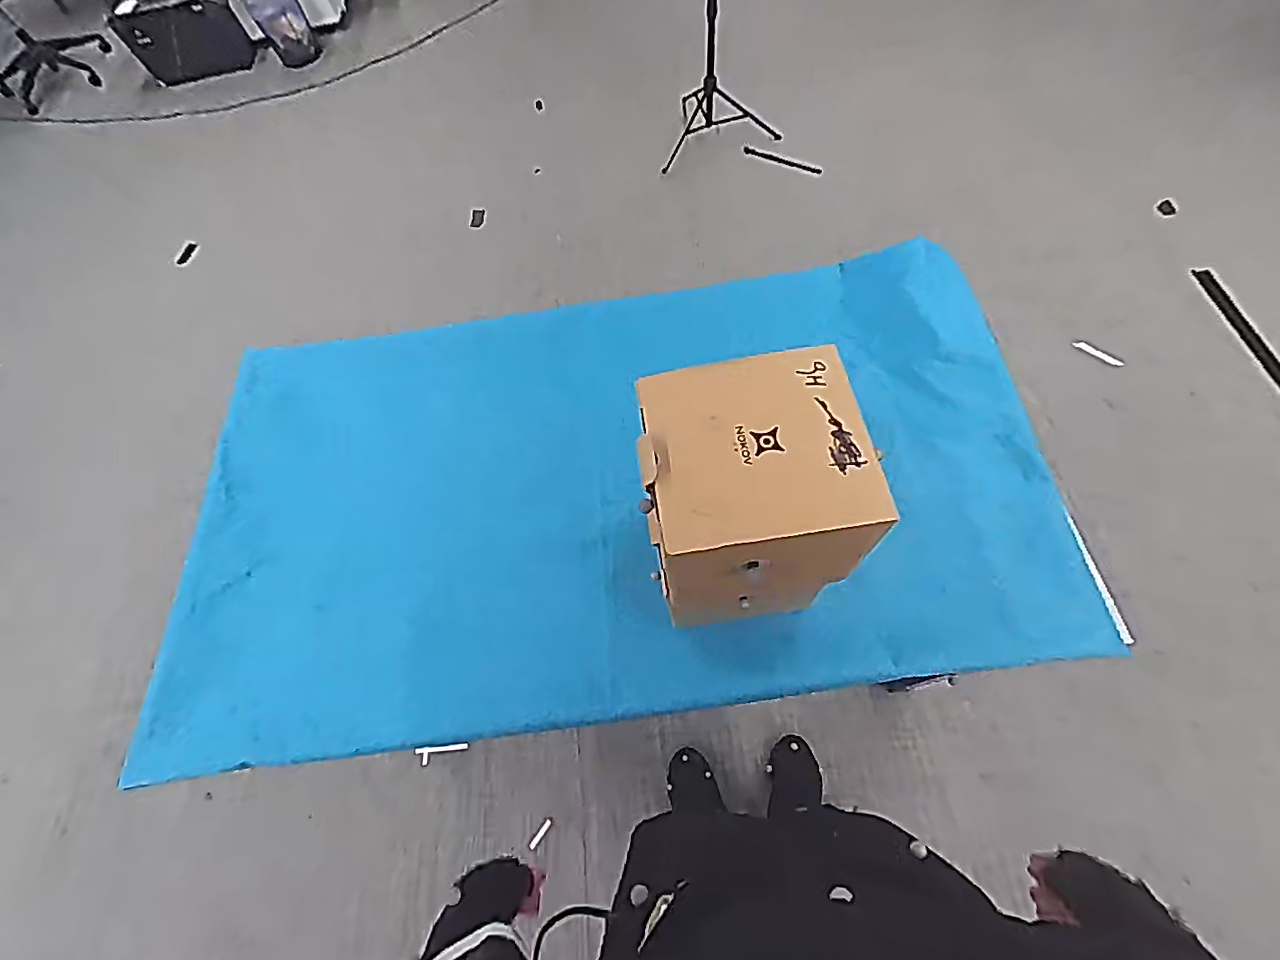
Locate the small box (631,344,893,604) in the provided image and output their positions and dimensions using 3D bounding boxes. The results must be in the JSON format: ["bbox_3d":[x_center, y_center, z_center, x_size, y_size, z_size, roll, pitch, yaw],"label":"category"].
[{"bbox_3d":[0.099,0.006,0.503,0.179,0.176,0.168,-12,64,1],"label":"small box"}]

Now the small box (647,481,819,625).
[{"bbox_3d":[0.111,0.070,0.652,0.179,0.176,0.168,-9,64,4],"label":"small box"}]
